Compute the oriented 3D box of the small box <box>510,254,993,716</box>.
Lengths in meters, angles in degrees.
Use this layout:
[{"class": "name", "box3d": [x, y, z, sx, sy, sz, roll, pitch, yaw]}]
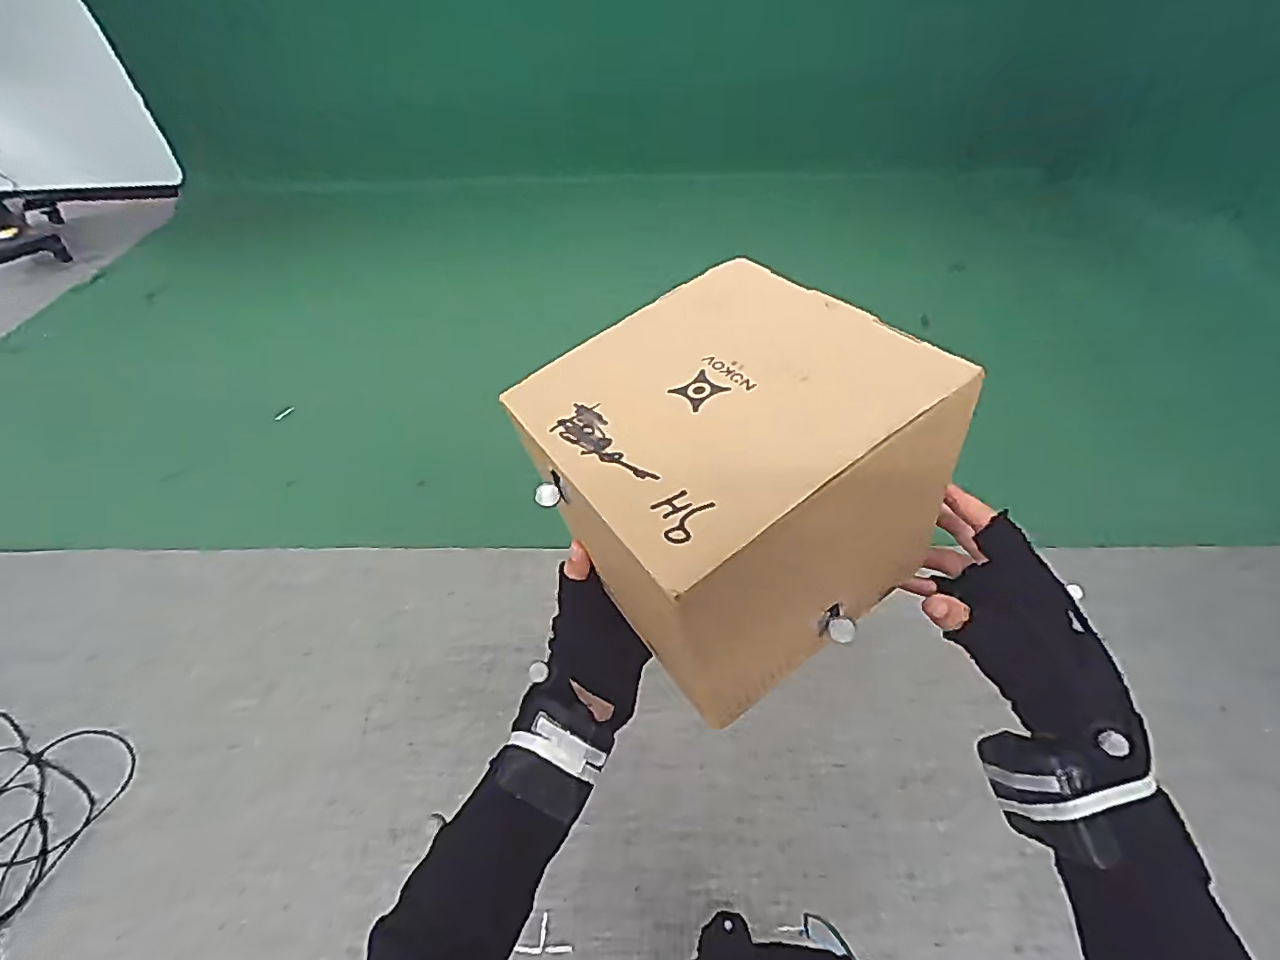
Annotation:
[{"class": "small box", "box3d": [0.056, 0.002, 0.323, 0.179, 0.176, 0.168, -33, 50, -14]}]
